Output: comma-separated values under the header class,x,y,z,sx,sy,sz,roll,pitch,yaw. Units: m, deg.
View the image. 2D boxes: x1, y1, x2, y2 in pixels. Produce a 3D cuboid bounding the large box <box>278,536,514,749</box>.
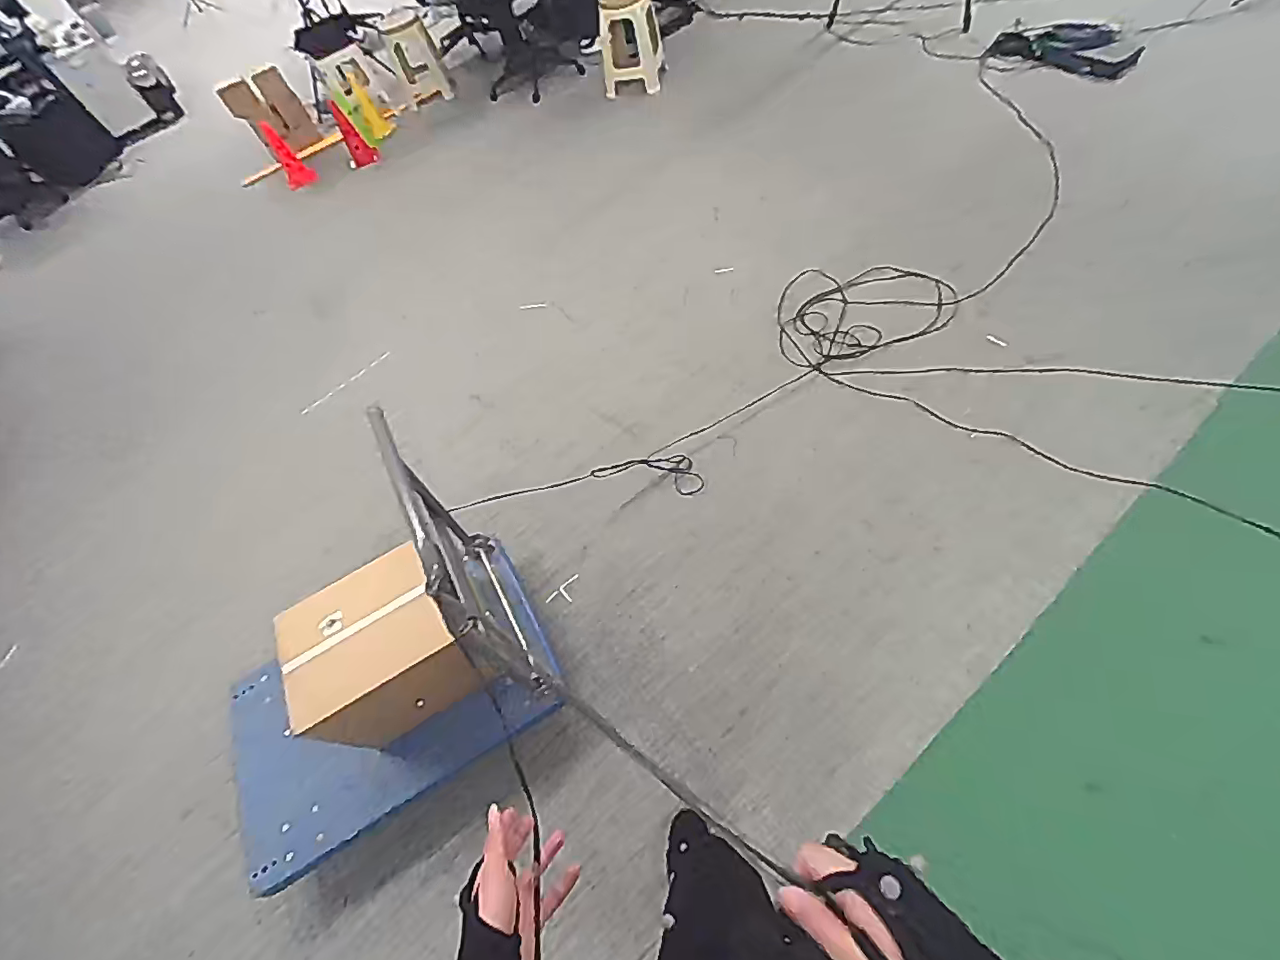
class,x,y,z,sx,sy,sz,roll,pitch,yaw
large box,-0.598,0.416,1.364,0.408,0.320,0.320,-31,57,-6
